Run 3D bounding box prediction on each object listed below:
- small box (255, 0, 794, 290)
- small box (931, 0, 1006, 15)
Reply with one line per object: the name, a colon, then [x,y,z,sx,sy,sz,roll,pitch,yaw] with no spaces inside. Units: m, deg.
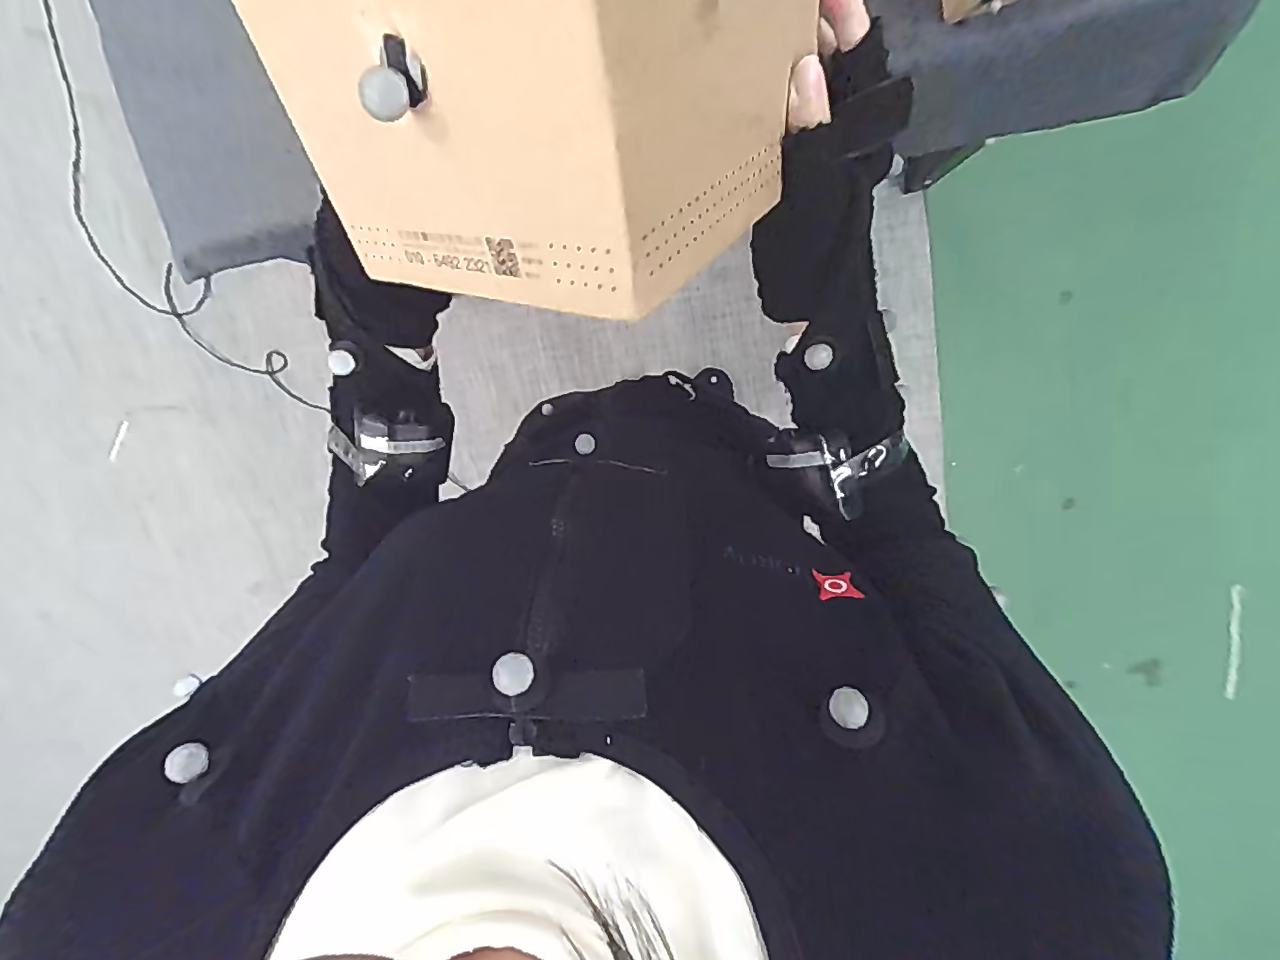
small box: [-0.036,-0.199,0.232,0.168,0.179,0.176,18,140,27]
small box: [0.355,-0.550,0.460,0.168,0.176,0.179,-13,99,8]
